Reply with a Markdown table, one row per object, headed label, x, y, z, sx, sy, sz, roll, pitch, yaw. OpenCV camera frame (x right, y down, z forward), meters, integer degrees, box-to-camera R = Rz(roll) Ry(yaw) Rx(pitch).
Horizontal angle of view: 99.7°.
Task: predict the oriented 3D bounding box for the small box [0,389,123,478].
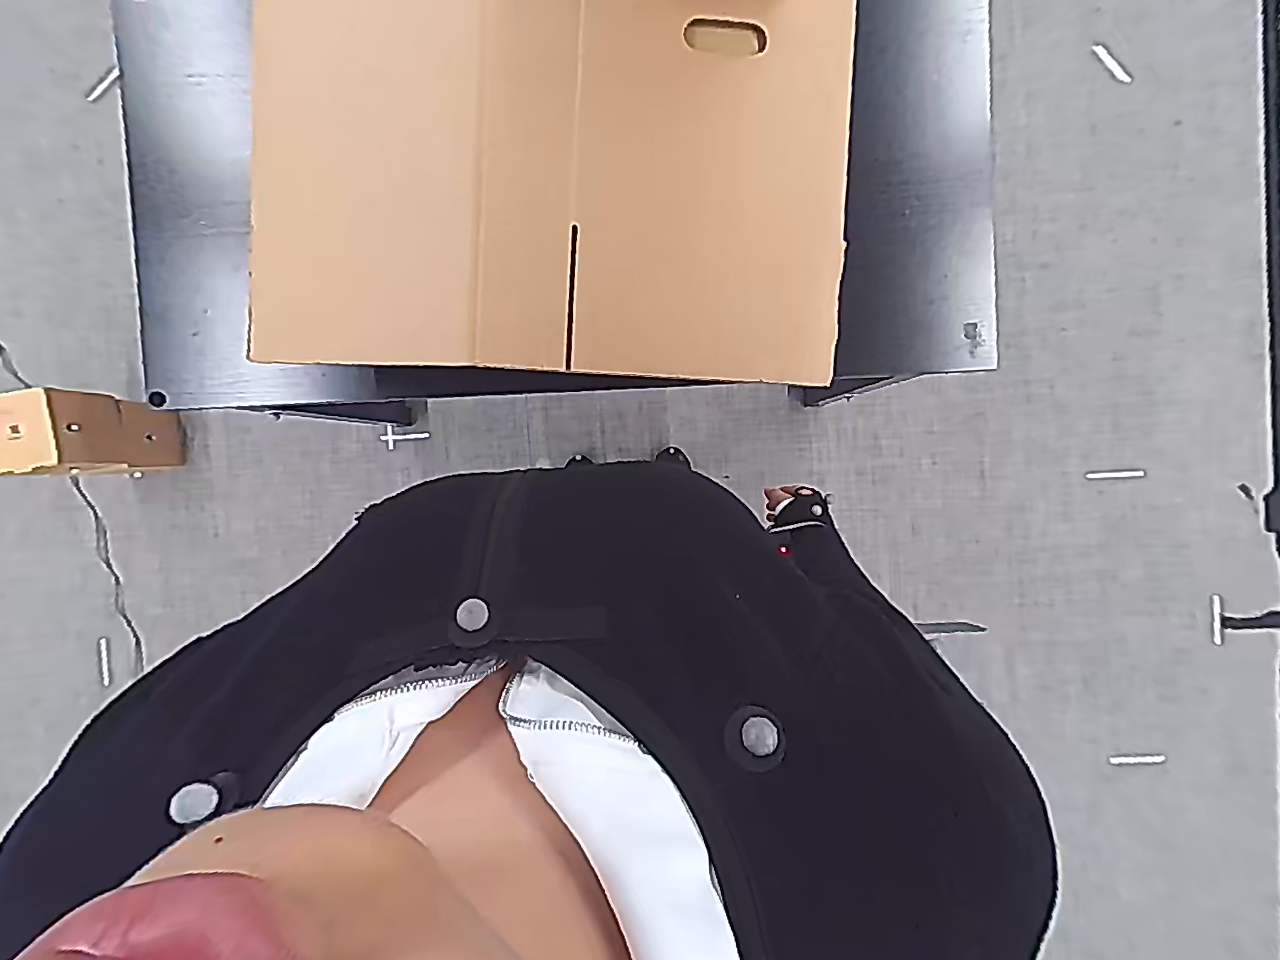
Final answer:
| label | x | y | z | sx | sy | sz | roll | pitch | yaw |
| --- | --- | --- | --- | --- | --- | --- | --- | --- | --- |
| small box | -1.372 | -0.105 | 1.266 | 0.168 | 0.176 | 0.179 | -10 | 91 | 0 |

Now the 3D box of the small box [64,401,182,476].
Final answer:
| label | x | y | z | sx | sy | sz | roll | pitch | yaw |
| --- | --- | --- | --- | --- | --- | --- | --- | --- | --- |
| small box | -1.368 | -0.105 | 1.428 | 0.168 | 0.176 | 0.179 | -7 | 93 | 1 |
